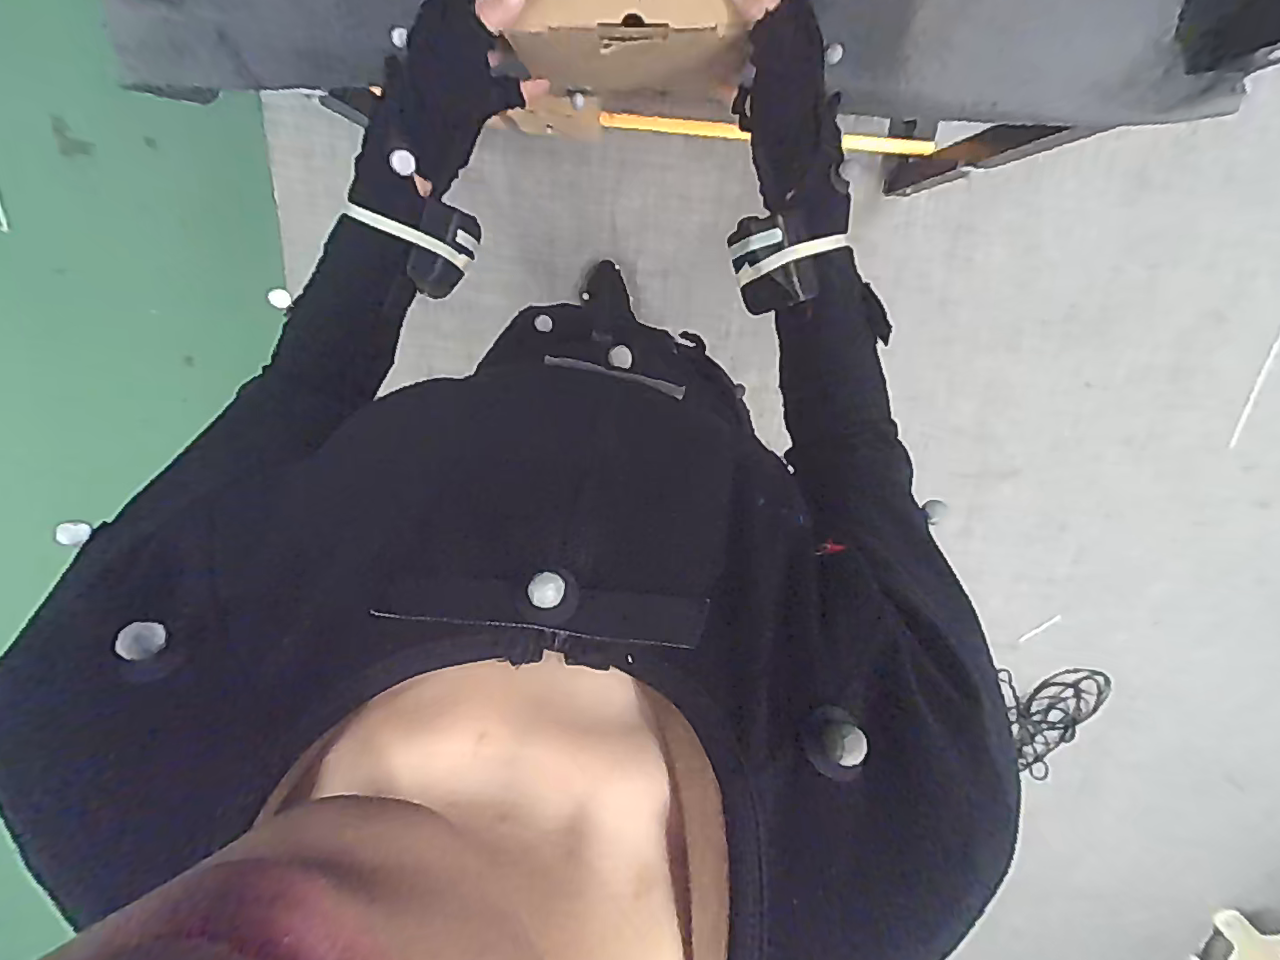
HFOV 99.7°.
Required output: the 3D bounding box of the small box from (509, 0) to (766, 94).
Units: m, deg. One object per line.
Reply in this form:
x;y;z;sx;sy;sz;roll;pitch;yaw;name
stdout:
0.002;-0.396;0.385;0.168;0.176;0.179;1;112;1;small box
